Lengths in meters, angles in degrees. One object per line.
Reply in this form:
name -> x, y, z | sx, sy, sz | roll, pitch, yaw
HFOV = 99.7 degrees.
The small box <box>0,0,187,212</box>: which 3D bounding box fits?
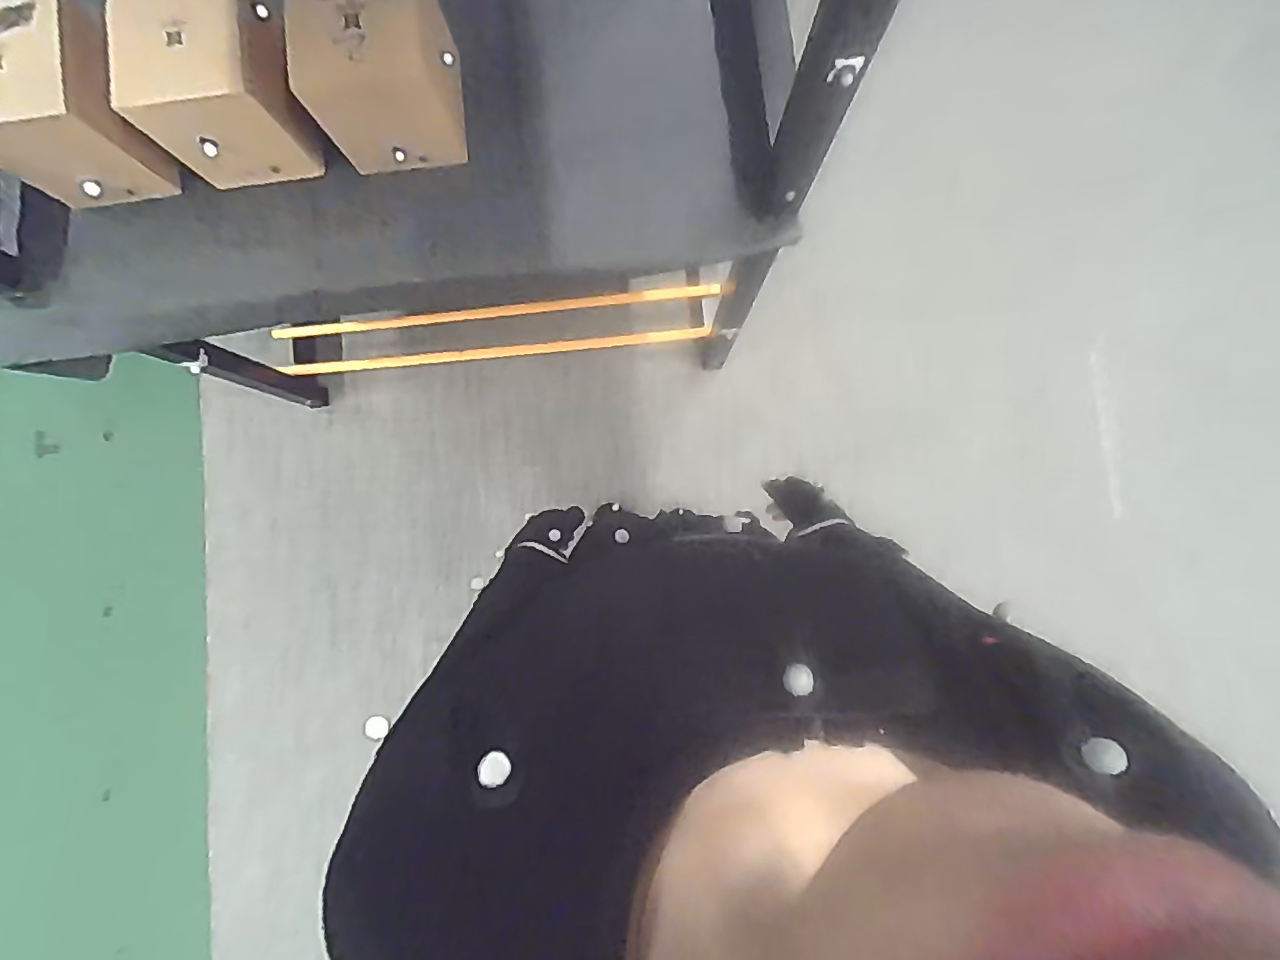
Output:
small box -> -0.779, -0.508, 0.750 | 0.168, 0.176, 0.179 | -8, 86, 1
